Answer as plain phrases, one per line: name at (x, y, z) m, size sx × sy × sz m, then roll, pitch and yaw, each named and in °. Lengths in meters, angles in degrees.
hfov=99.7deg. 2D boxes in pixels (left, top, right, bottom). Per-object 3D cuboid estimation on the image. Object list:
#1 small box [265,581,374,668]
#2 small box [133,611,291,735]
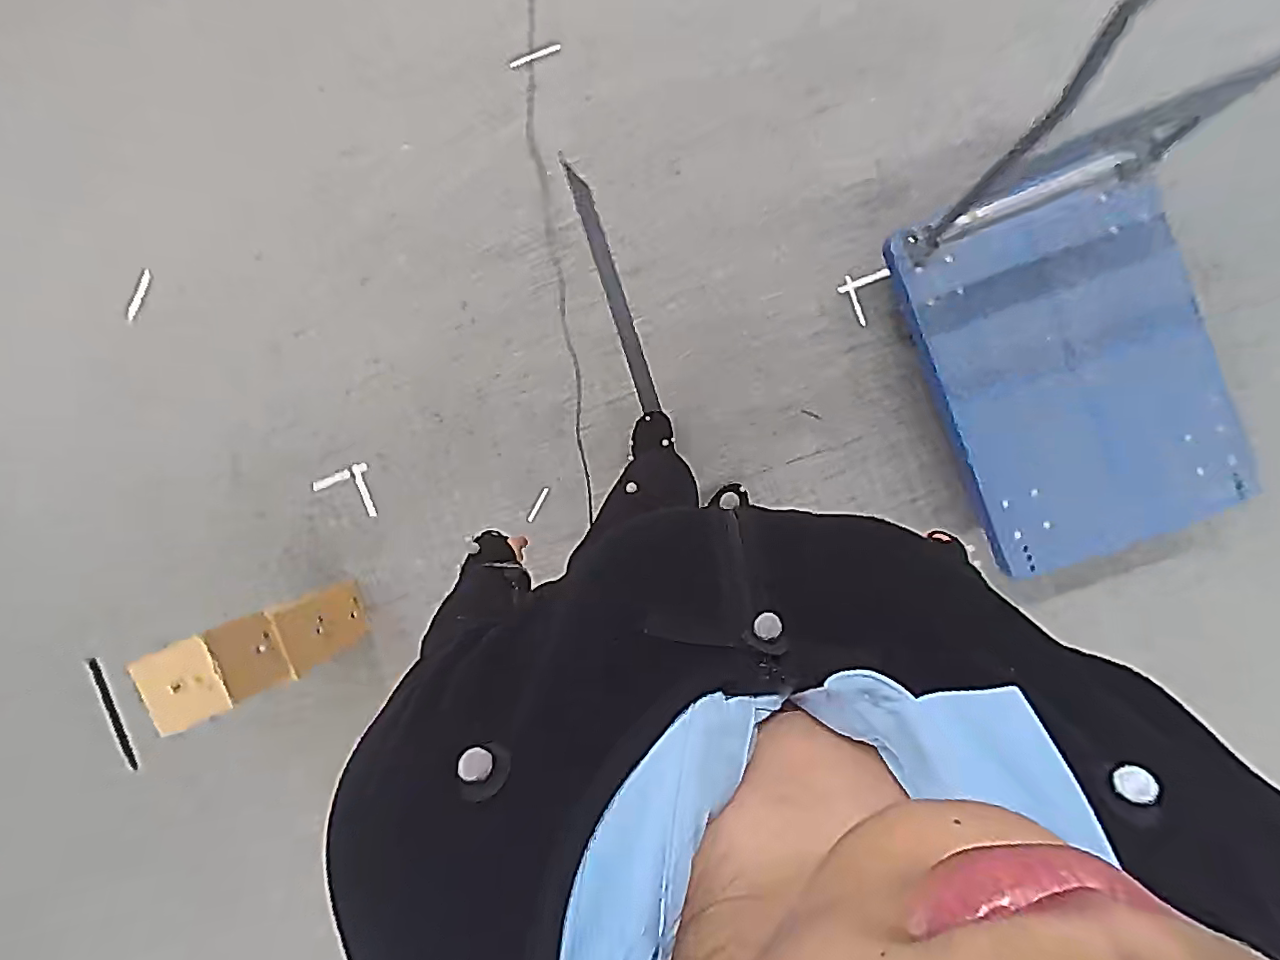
small box at (-0.881, 0.394, 1.492) m, size 0.179 × 0.176 × 0.168 m, roll -20°, pitch 91°, yaw 4°
small box at (-0.909, 0.407, 1.164) m, size 0.179 × 0.176 × 0.168 m, roll -24°, pitch 91°, yaw 3°
